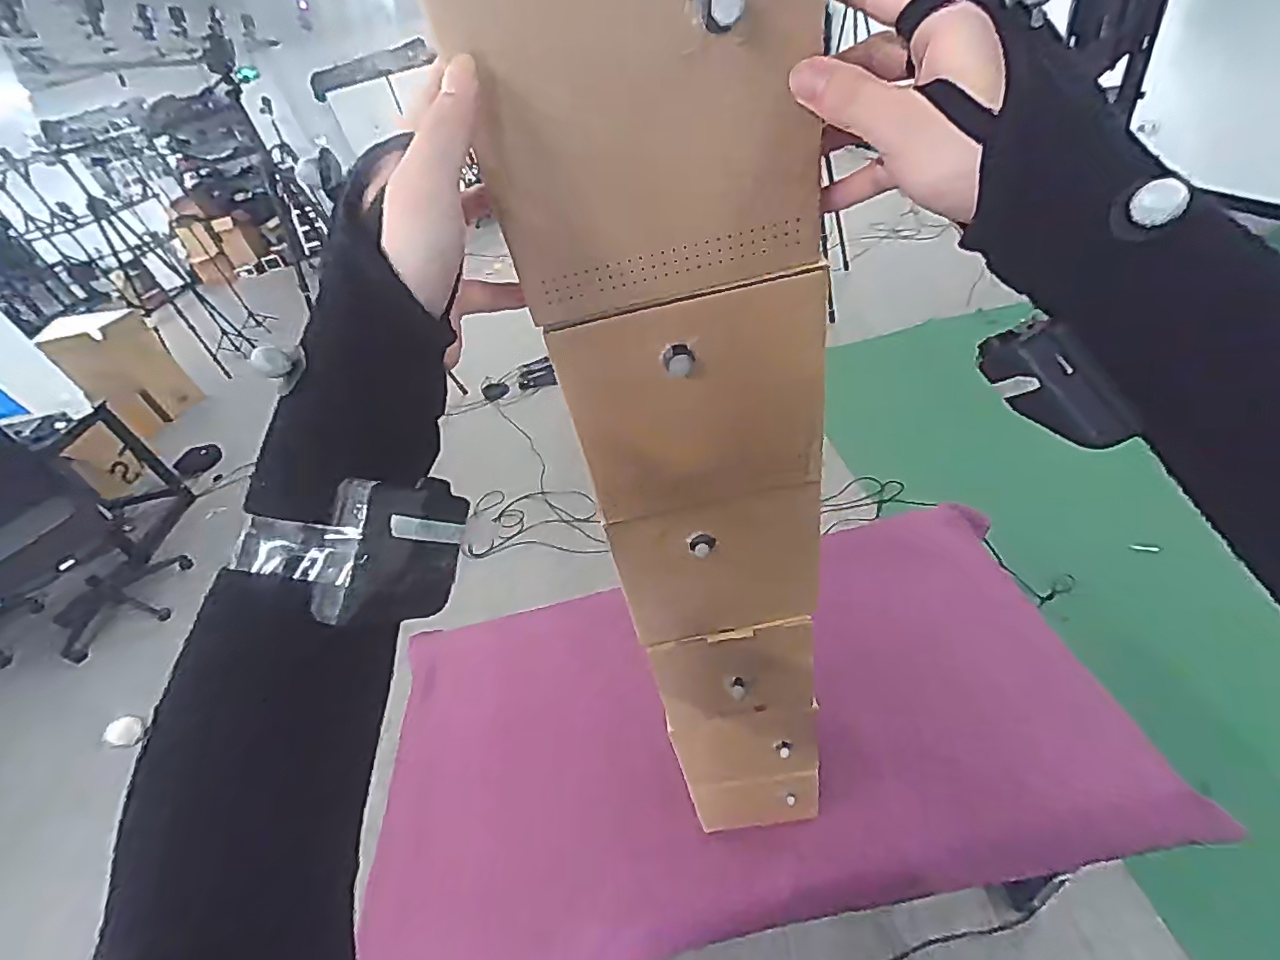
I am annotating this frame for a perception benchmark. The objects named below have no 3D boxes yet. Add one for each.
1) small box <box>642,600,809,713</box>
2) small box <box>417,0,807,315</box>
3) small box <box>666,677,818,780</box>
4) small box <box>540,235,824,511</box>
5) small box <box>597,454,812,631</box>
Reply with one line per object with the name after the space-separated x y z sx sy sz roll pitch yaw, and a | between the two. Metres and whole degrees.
0.095 0.152 0.633 0.168 0.176 0.179 -11 39 5 | small box
-0.004 -0.225 0.332 0.179 0.176 0.168 -12 40 5 | small box
0.129 0.279 0.729 0.179 0.176 0.168 -11 39 6 | small box
0.034 -0.098 0.433 0.179 0.176 0.168 -12 39 5 | small box
0.061 0.027 0.533 0.179 0.176 0.168 -11 38 3 | small box
